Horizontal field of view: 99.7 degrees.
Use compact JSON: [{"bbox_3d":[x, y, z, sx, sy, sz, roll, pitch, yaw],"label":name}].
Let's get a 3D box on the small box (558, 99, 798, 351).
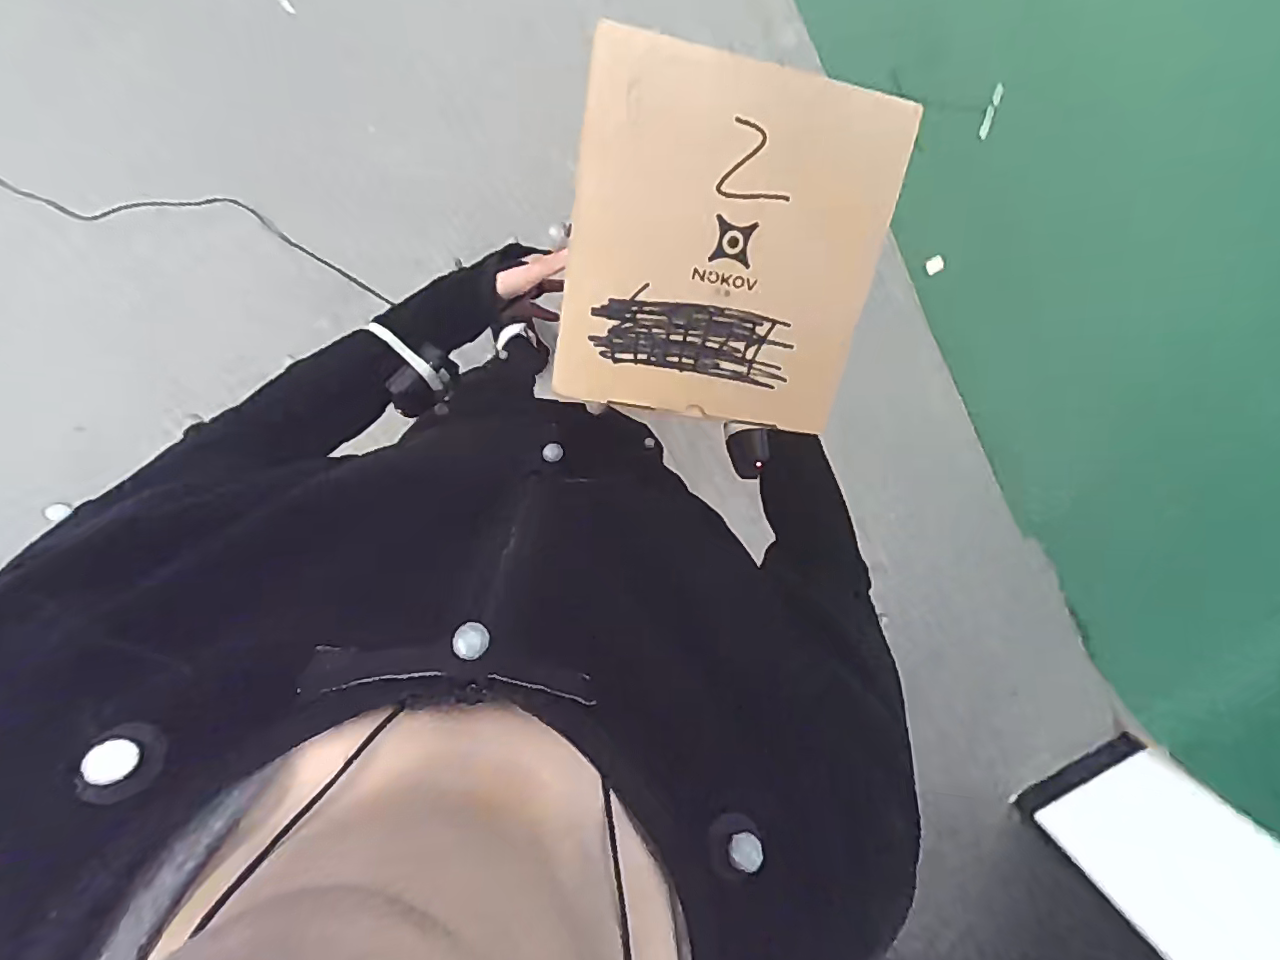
[{"bbox_3d":[0.019,-0.228,0.512,0.179,0.176,0.168,6,111,-8],"label":"small box"}]
